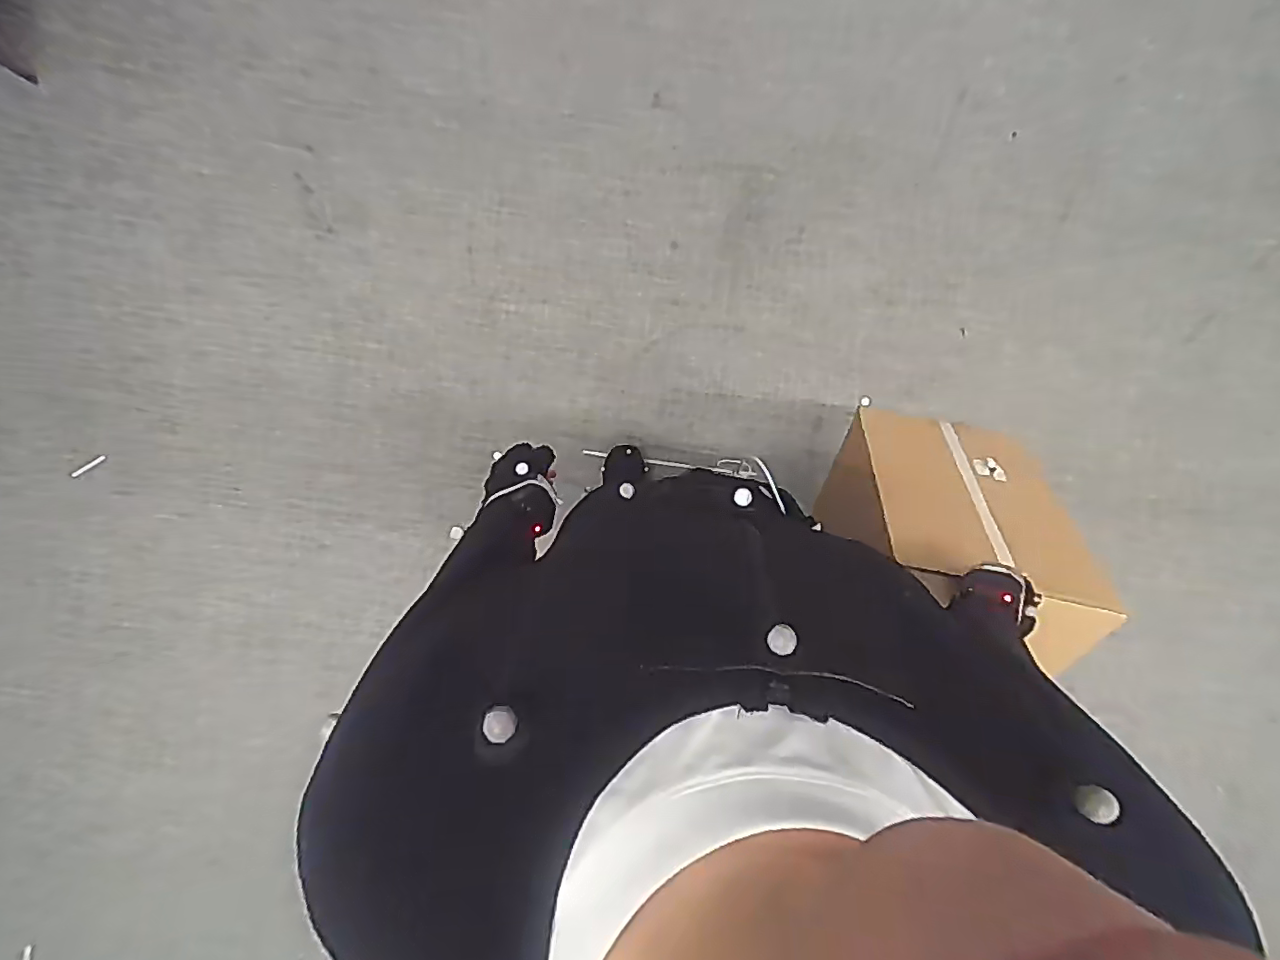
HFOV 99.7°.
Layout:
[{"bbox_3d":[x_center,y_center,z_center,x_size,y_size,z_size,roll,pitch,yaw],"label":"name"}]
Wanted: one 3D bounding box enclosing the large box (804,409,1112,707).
[{"bbox_3d":[0.505,0.129,0.981,0.320,0.408,0.320,13,130,2],"label":"large box"}]
